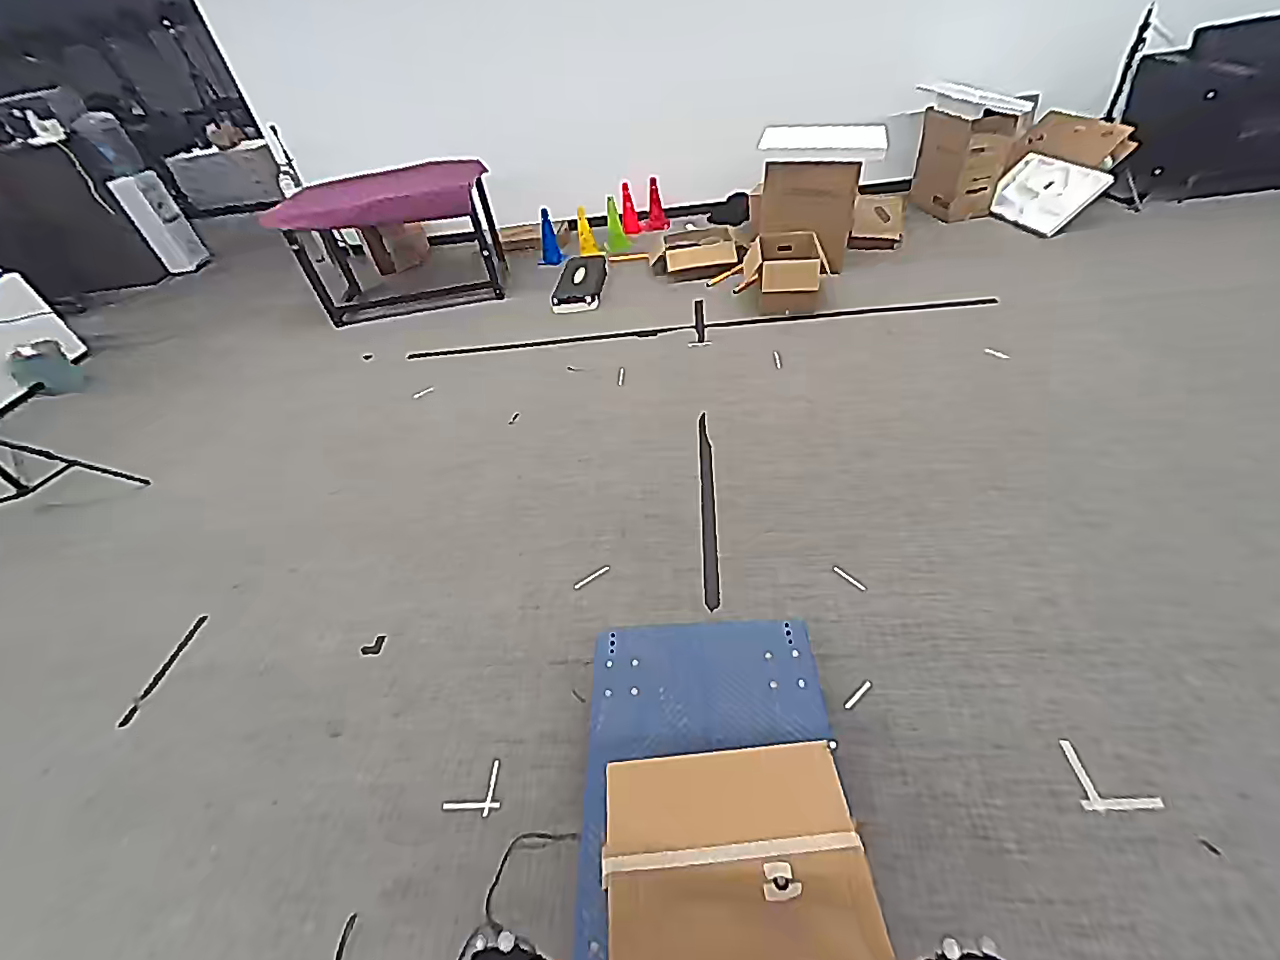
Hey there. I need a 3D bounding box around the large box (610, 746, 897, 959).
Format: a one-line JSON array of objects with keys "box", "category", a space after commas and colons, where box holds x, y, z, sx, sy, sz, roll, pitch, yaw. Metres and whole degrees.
[{"box": [0.166, 0.716, 0.963, 0.408, 0.320, 0.320, -7, 43, 1], "category": "large box"}]
